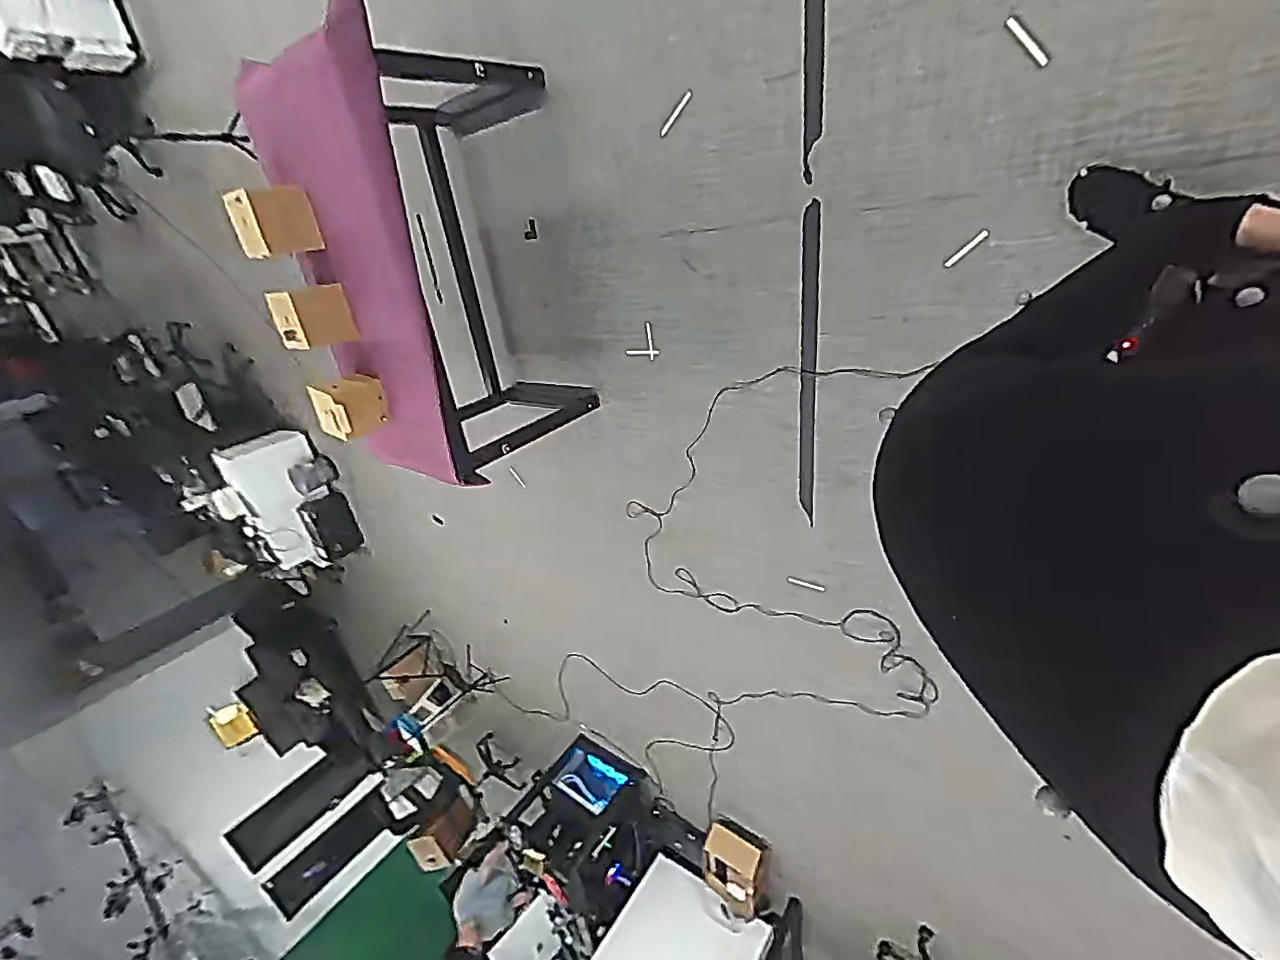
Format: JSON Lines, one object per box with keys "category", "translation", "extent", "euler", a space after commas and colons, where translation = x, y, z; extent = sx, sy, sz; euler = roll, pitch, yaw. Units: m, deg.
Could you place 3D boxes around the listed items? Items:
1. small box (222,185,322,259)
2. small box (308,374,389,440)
{"category": "small box", "translation": [-1.100, -0.777, 1.628], "extent": [0.168, 0.176, 0.179], "euler": [11, 123, 34]}
{"category": "small box", "translation": [-0.992, -0.257, 1.861], "extent": [0.179, 0.176, 0.168], "euler": [18, 126, 32]}
